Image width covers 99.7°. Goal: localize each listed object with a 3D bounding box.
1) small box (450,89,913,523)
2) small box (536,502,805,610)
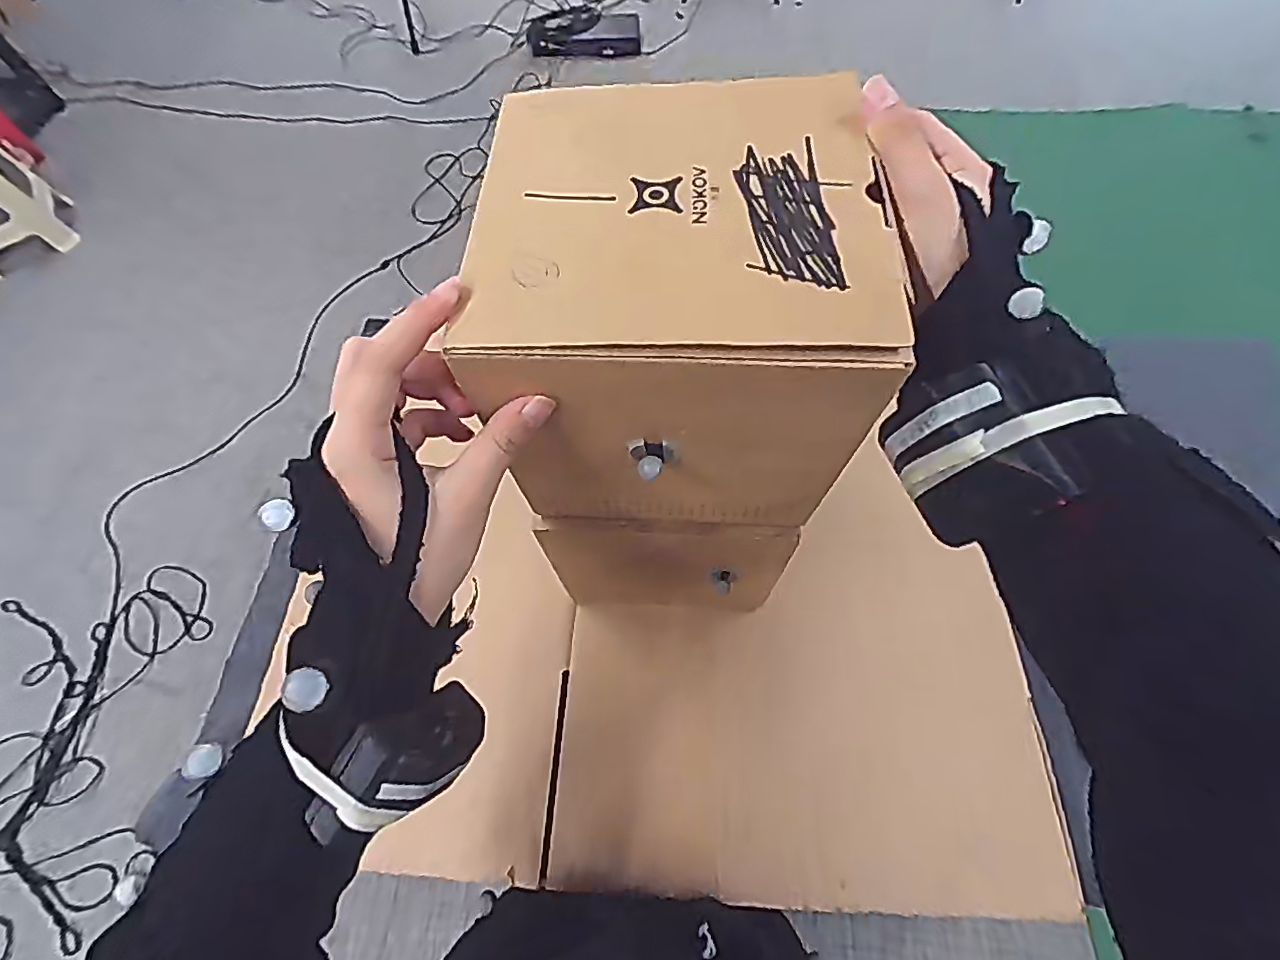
[{"bbox_3d":[0.022,-0.081,0.305,0.179,0.176,0.168,2,64,4],"label":"small box"},{"bbox_3d":[0.025,0.005,0.453,0.179,0.176,0.168,0,61,4],"label":"small box"}]
